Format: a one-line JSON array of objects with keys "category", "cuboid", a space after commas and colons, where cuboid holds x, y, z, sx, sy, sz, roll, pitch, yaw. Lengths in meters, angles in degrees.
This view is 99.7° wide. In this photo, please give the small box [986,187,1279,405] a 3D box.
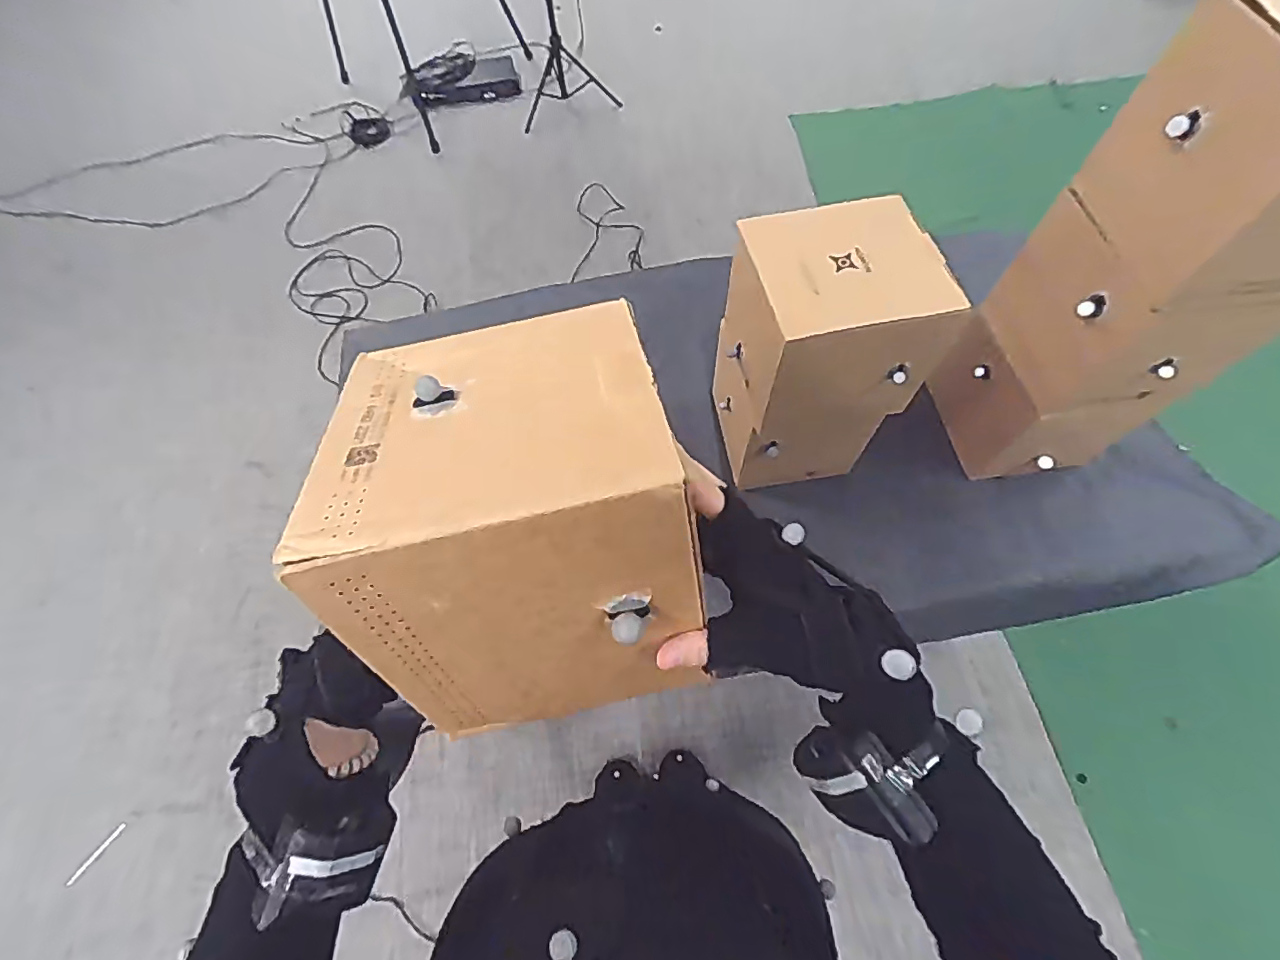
[{"category": "small box", "cuboid": [0.524, -0.195, 0.587, 0.168, 0.176, 0.179, -6, 63, 0]}]

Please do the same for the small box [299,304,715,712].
[{"category": "small box", "cuboid": [-0.059, 0.022, 0.330, 0.176, 0.179, 0.168, -13, 44, 0]}]

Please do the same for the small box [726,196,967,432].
[{"category": "small box", "cuboid": [0.204, -0.173, 0.593, 0.179, 0.176, 0.168, -11, 63, -2]}]
